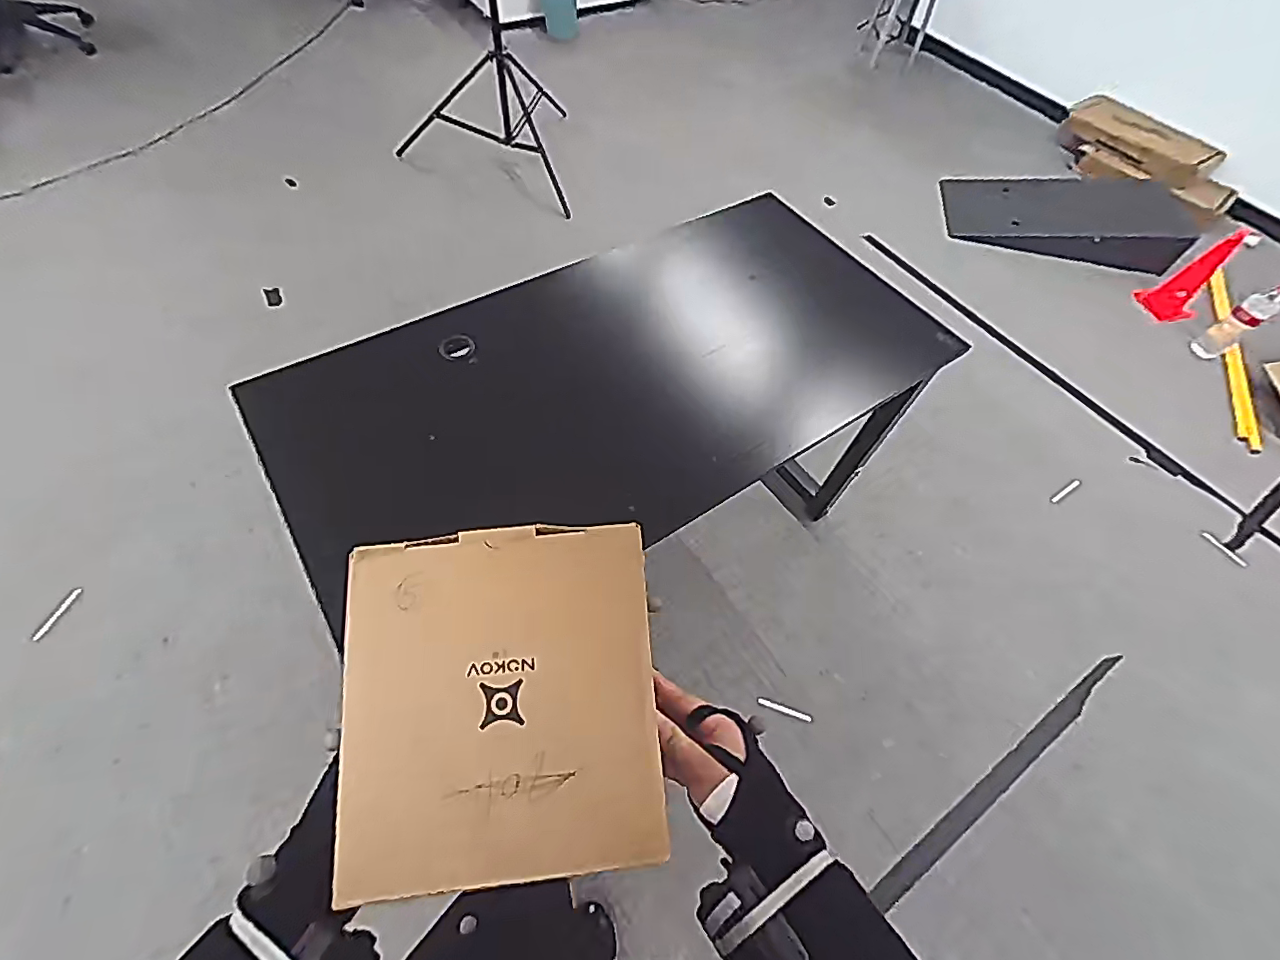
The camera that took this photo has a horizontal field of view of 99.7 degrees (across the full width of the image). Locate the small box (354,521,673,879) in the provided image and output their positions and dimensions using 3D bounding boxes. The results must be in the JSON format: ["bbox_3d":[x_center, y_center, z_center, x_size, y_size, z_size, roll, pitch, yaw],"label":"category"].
[{"bbox_3d":[-0.075,0.135,0.378,0.168,0.176,0.179,-5,75,-4],"label":"small box"}]
